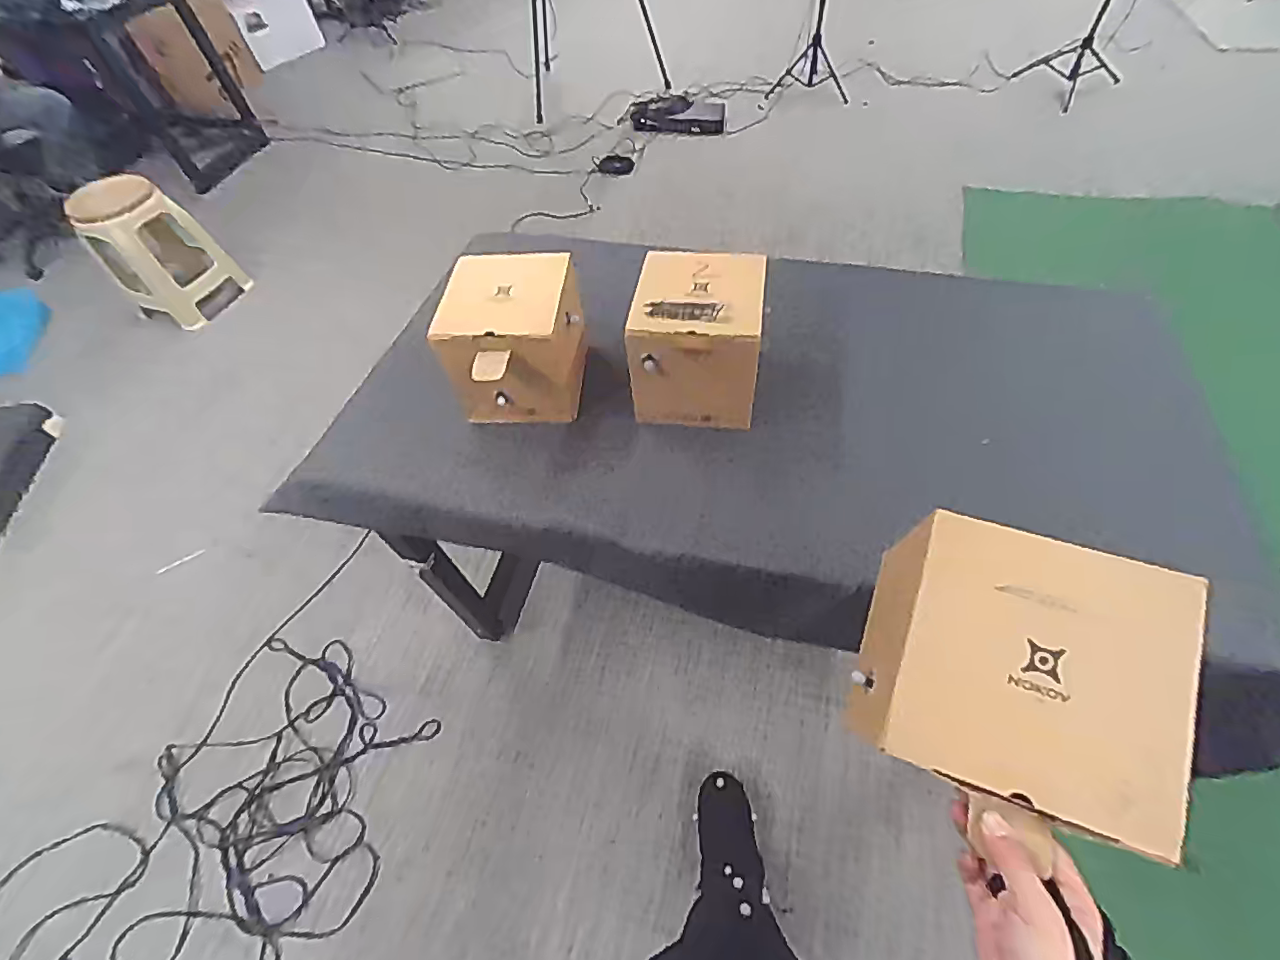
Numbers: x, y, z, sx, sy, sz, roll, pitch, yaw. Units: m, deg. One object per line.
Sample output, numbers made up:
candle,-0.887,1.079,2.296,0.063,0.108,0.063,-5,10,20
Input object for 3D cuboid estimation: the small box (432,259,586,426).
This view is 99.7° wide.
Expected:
small box,-0.176,-0.200,0.792,0.168,0.176,0.179,0,55,5

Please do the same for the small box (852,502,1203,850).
small box,0.278,0.141,0.428,0.168,0.176,0.179,16,75,16
